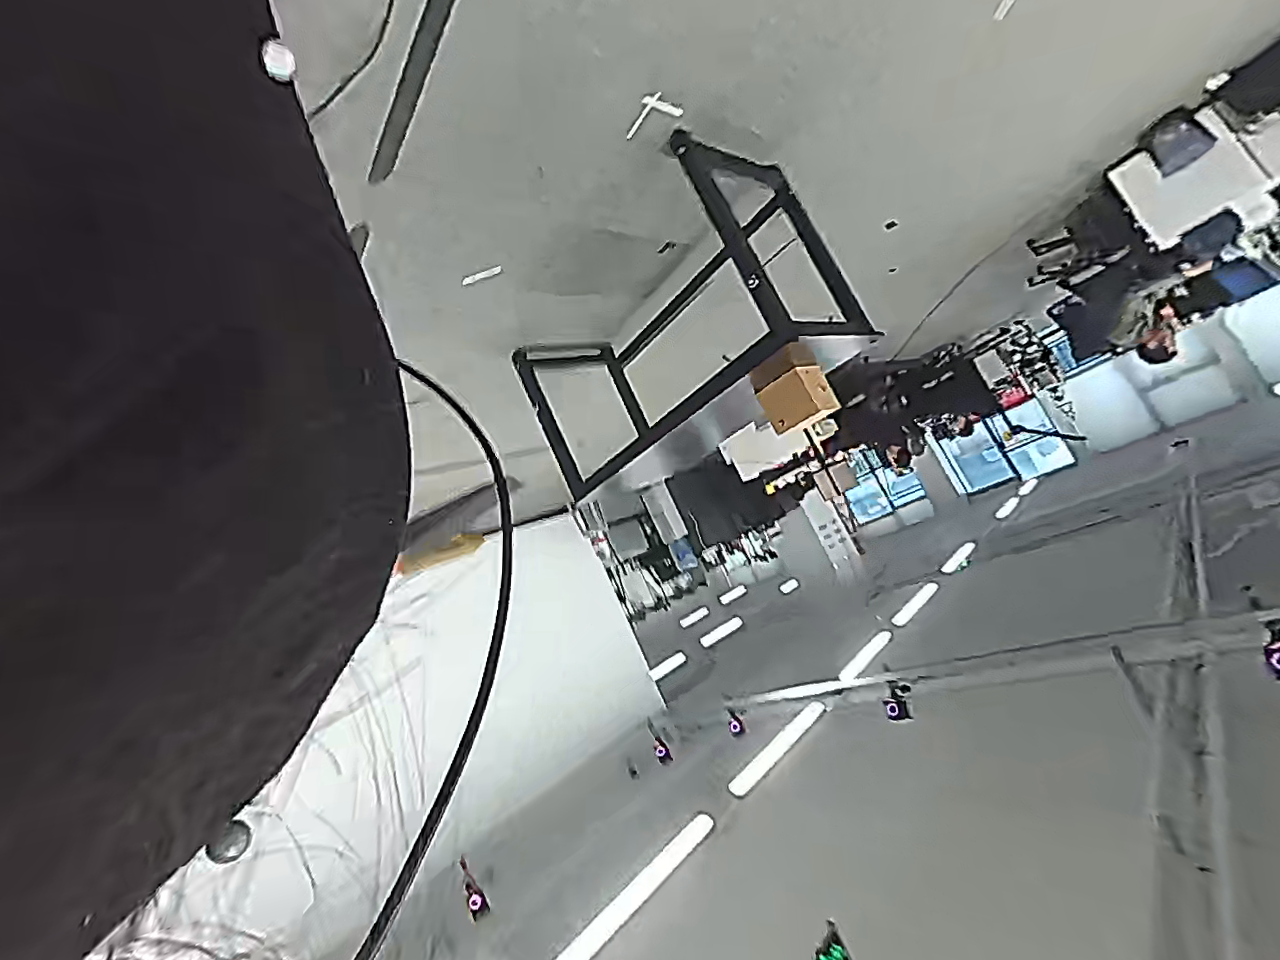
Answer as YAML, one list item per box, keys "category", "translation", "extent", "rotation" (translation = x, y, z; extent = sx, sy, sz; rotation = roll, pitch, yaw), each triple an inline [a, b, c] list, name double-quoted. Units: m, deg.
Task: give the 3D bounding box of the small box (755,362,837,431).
- category: "small box"
  translation: [0.521, -0.287, 1.819]
  extent: [0.168, 0.176, 0.179]
  rotation: [-15, 166, -45]
